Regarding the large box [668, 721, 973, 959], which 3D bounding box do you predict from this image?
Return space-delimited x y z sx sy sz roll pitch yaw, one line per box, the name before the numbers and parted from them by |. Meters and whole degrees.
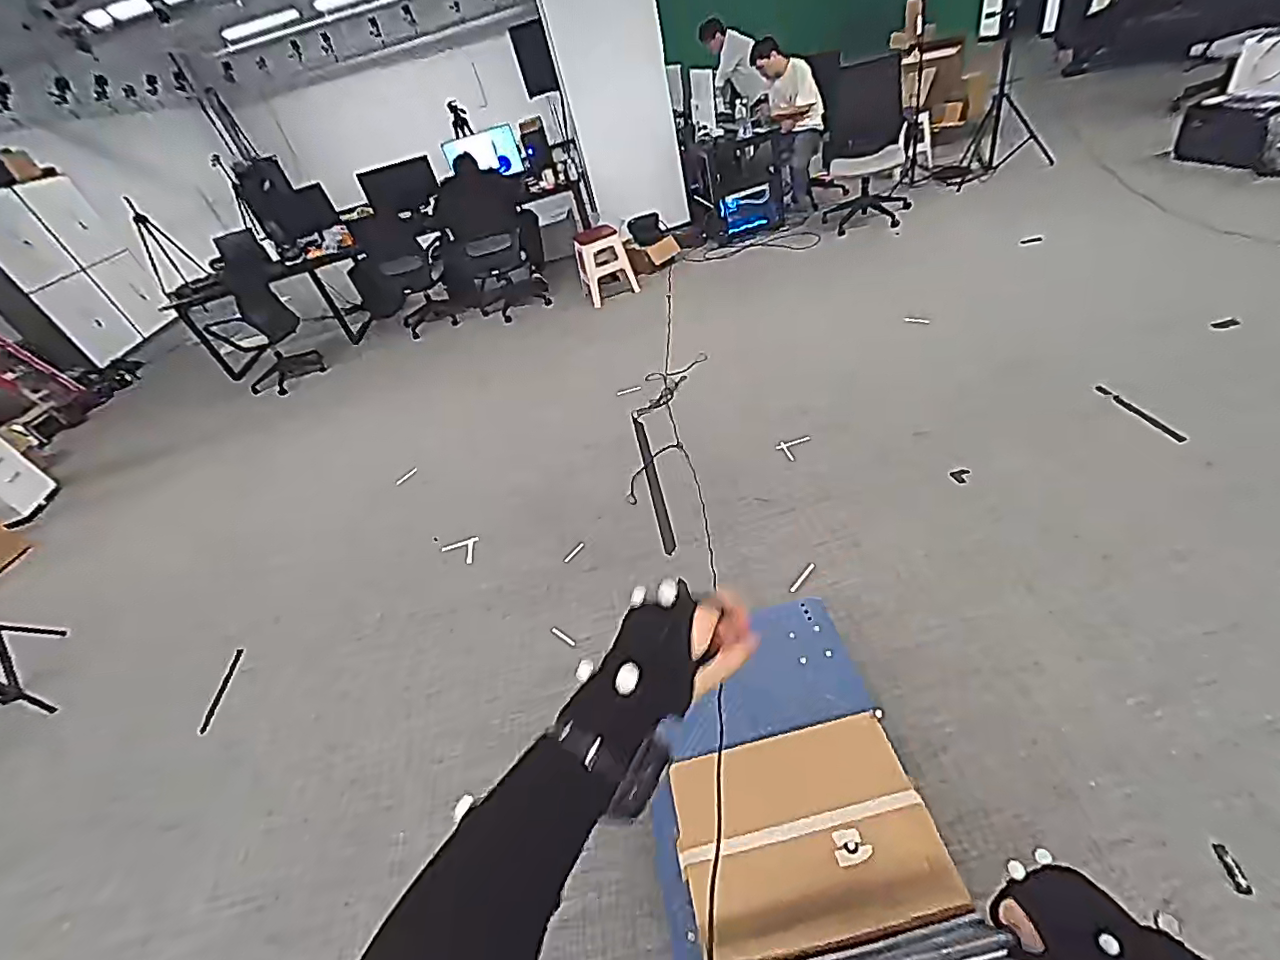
large box | 0.297 0.706 0.977 0.408 0.320 0.320 -16 38 1
